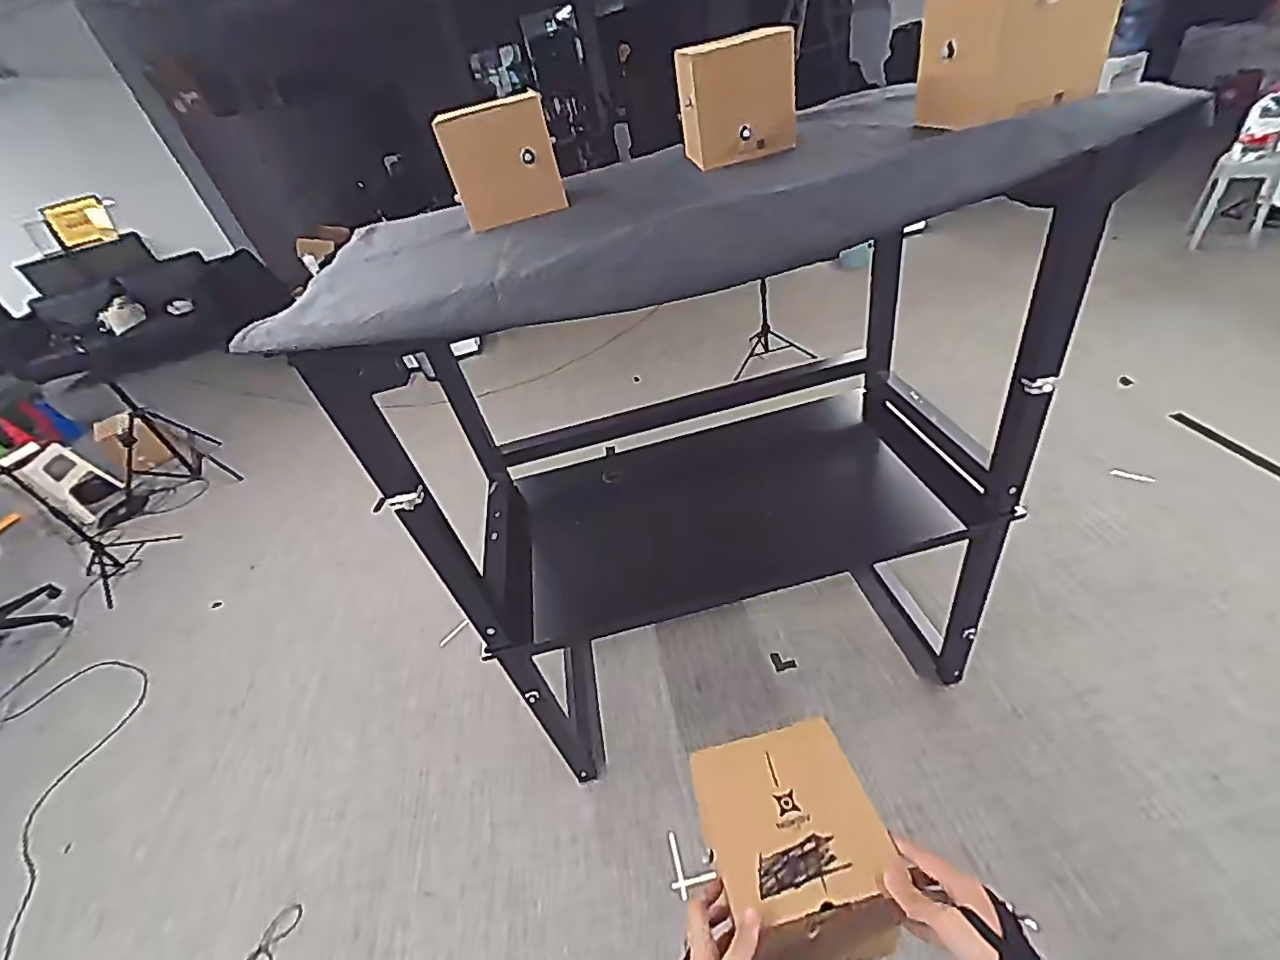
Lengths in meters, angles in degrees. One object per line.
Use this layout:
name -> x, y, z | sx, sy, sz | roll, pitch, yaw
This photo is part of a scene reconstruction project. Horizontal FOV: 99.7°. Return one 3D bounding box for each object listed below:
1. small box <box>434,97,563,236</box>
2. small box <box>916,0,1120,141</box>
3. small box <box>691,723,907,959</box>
small box -> -0.241, -0.554, 0.956 | 0.179, 0.176, 0.168 | -17, 39, -3
small box -> 0.523, -0.603, 0.775 | 0.168, 0.176, 0.179 | -16, 38, 0
small box -> 0.163, 0.410, 0.595 | 0.168, 0.176, 0.179 | -12, 32, -5
